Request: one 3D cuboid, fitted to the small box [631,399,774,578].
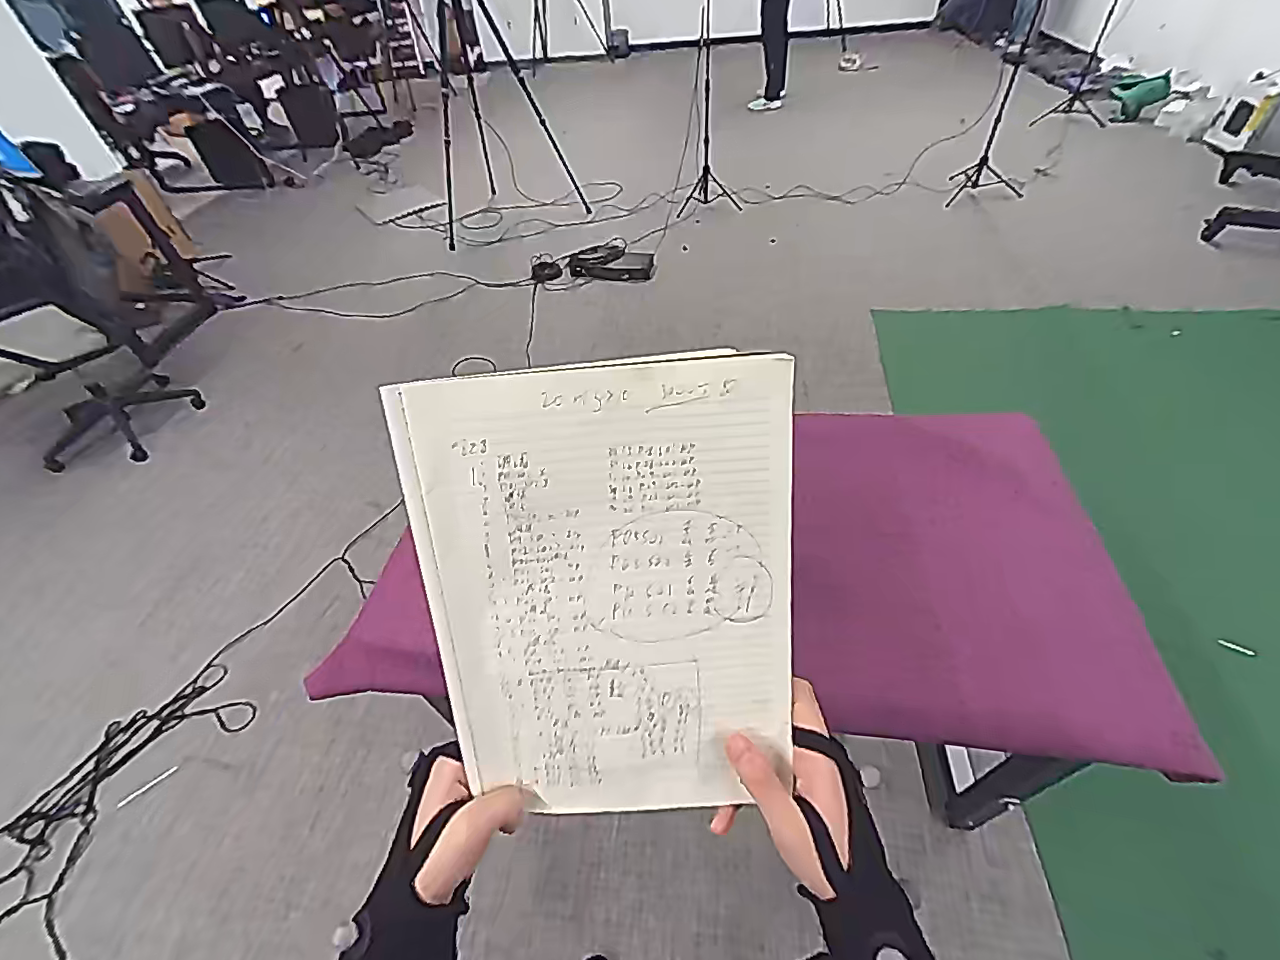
[{"bbox_3d":[0.089,0.012,0.721,0.168,0.176,0.179,3,46,9],"label":"small box"}]
